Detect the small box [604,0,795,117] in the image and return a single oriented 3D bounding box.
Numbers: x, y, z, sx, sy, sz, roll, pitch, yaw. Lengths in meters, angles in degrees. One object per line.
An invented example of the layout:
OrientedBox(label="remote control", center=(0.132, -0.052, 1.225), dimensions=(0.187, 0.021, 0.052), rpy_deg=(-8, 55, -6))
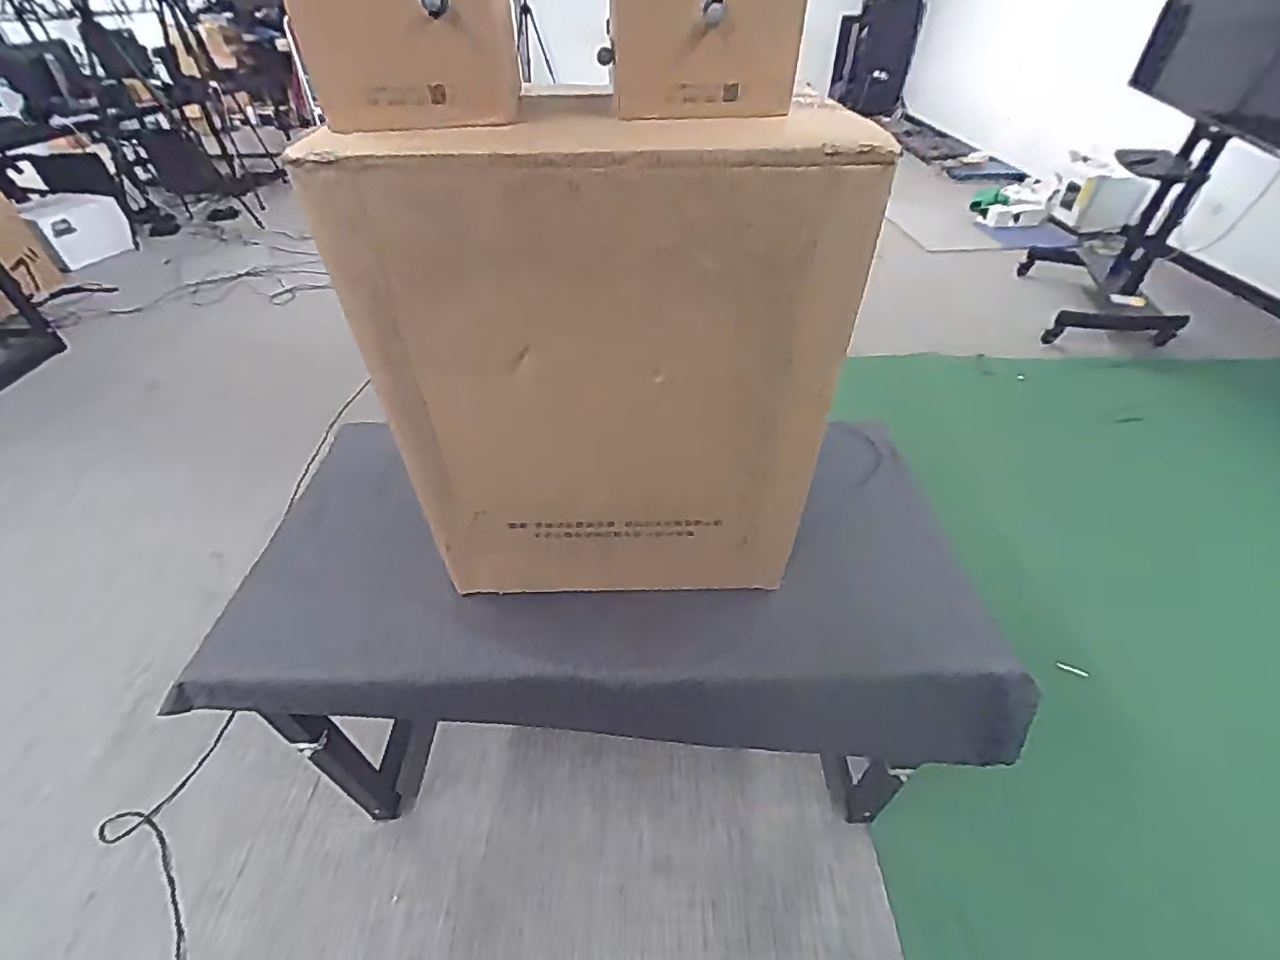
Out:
OrientedBox(label="small box", center=(0.049, -0.463, 0.518), dimensions=(0.168, 0.176, 0.179), rpy_deg=(-4, 46, -2))

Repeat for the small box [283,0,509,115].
OrientedBox(label="small box", center=(-0.216, -0.446, 0.489), dimensions=(0.168, 0.176, 0.179), rpy_deg=(-8, 47, -6))
